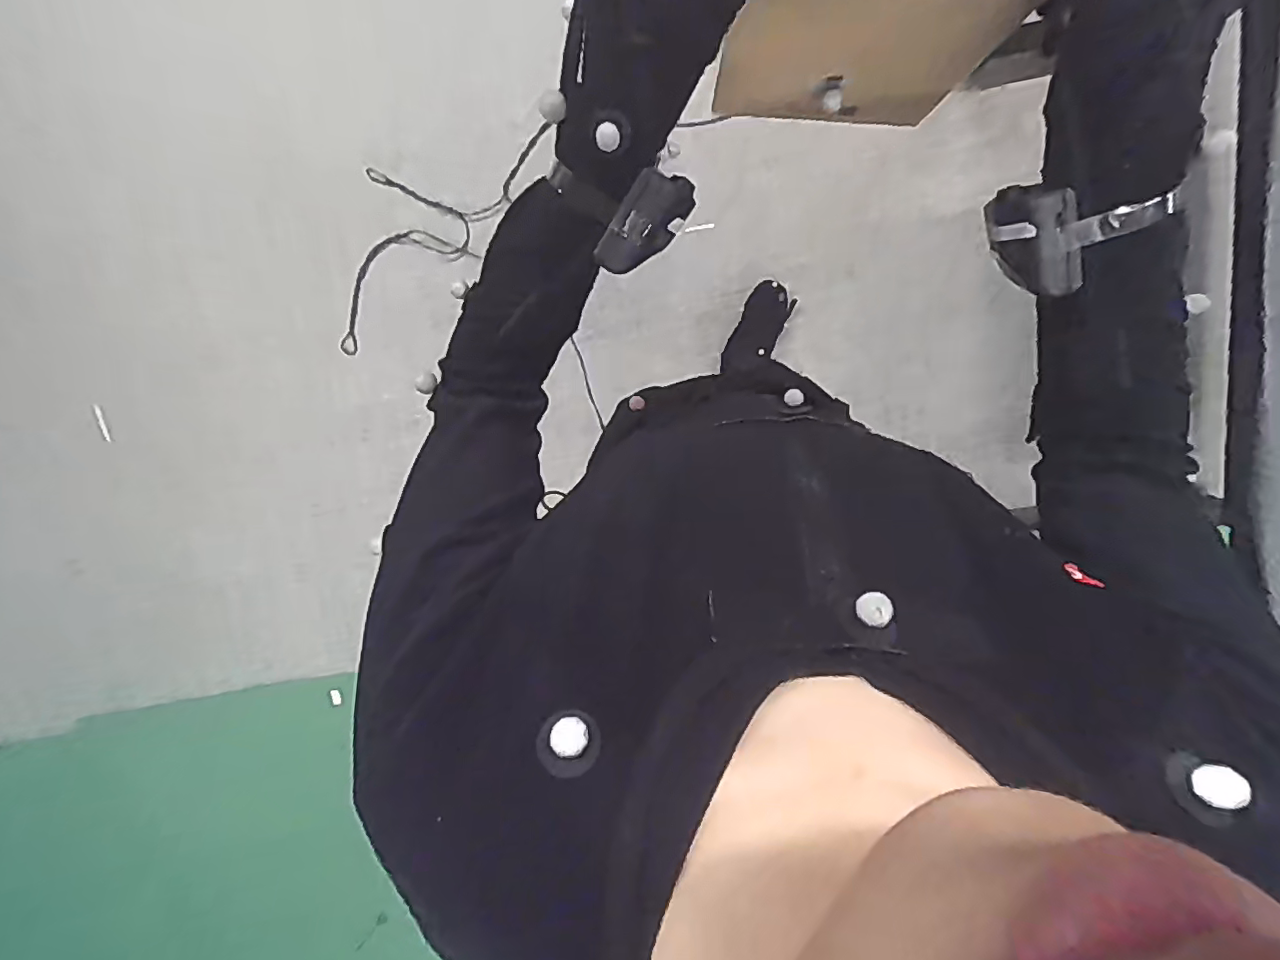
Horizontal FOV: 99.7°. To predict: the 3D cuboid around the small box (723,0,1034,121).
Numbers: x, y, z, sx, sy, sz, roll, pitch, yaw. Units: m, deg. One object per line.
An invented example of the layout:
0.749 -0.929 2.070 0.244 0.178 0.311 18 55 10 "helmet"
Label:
0.148 -0.365 0.338 0.168 0.176 0.179 5 99 2 "small box"
